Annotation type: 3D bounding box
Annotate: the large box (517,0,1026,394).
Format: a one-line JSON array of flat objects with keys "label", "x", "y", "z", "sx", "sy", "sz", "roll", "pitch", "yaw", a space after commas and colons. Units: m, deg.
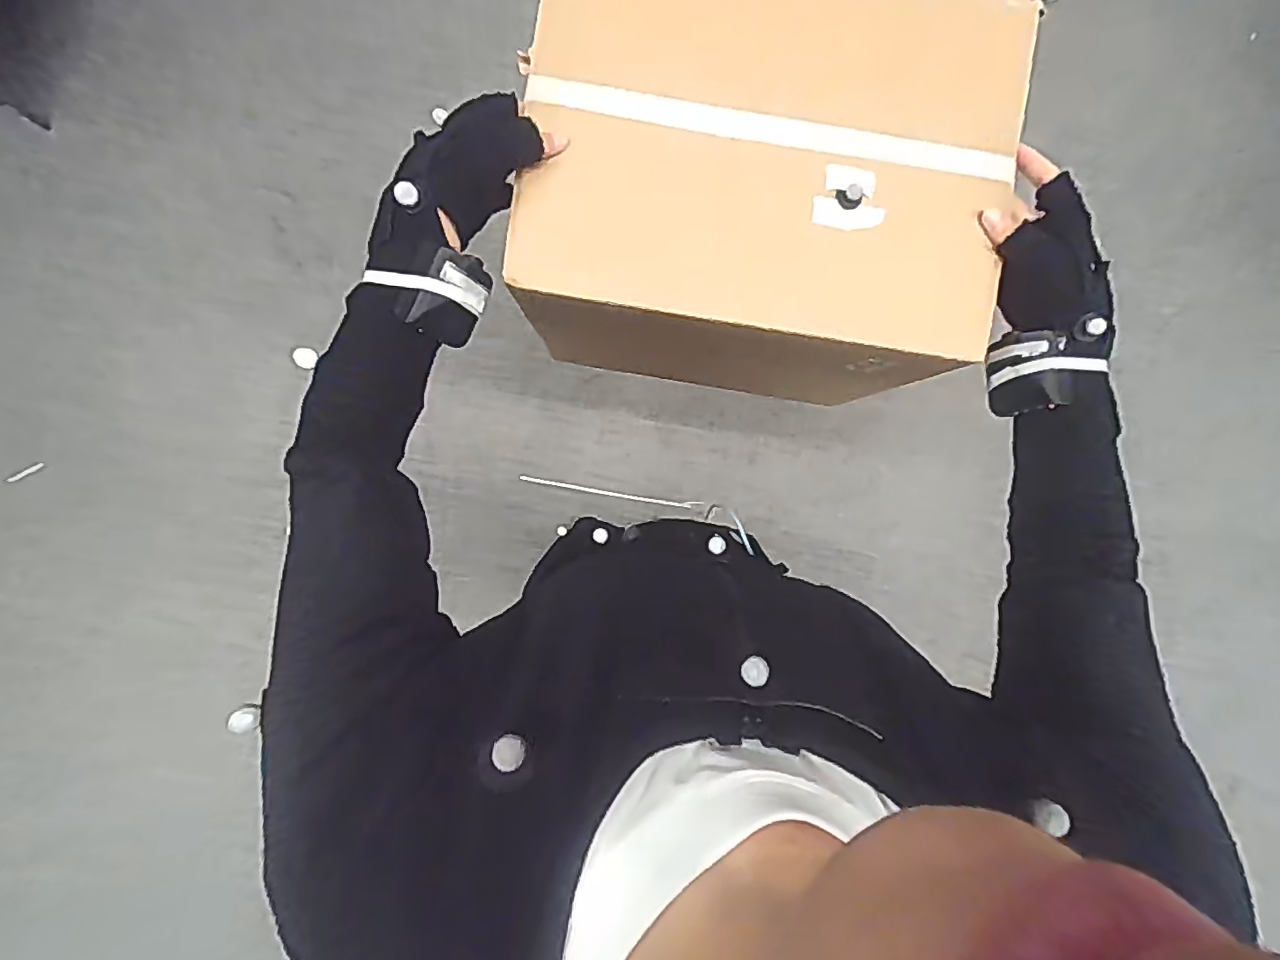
[{"label": "large box", "x": 0.104, "y": -0.291, "z": 0.596, "sx": 0.408, "sy": 0.320, "sz": 0.320, "roll": 8, "pitch": 91, "yaw": -3}]
